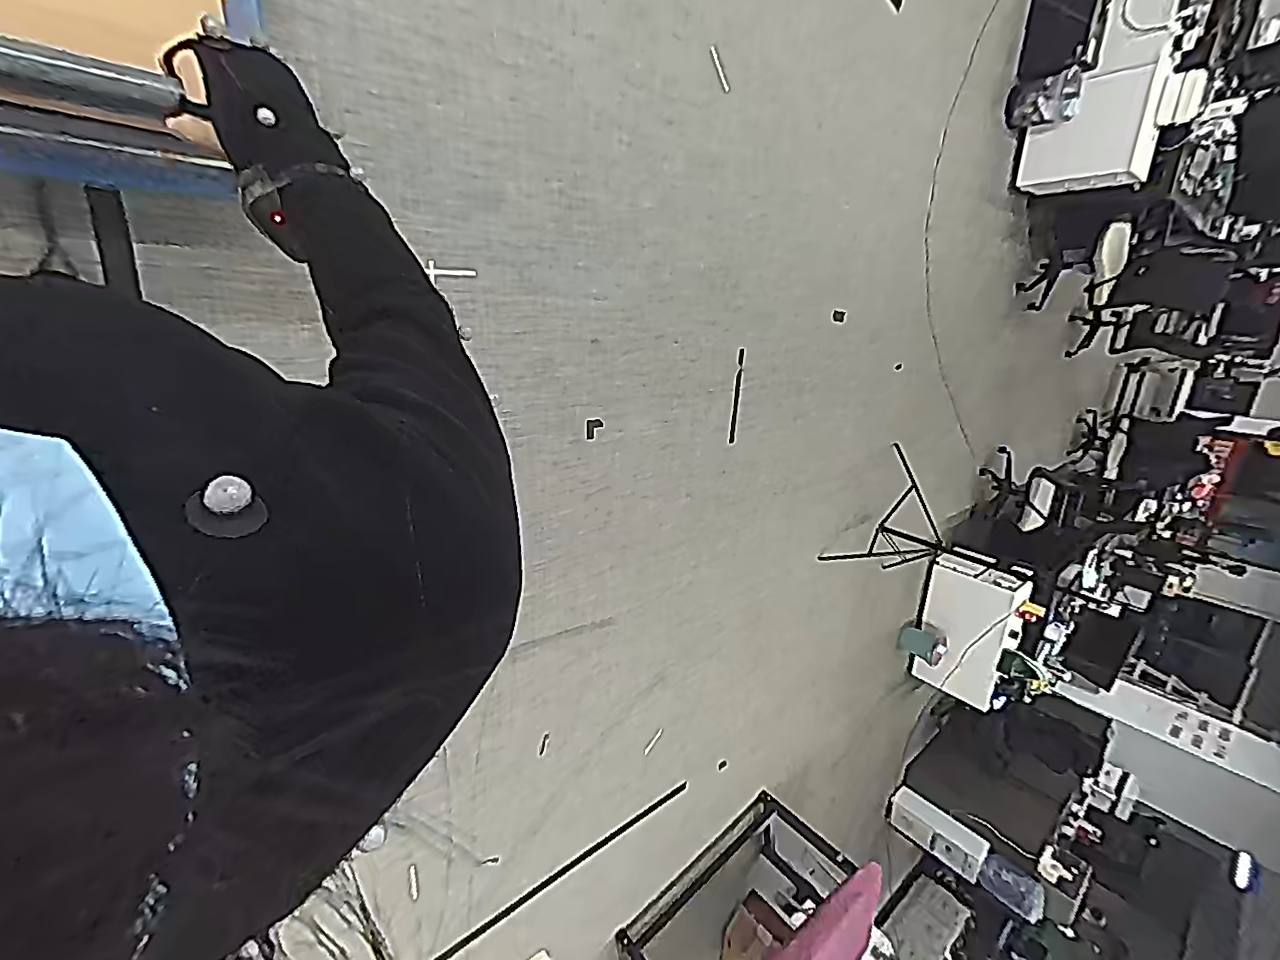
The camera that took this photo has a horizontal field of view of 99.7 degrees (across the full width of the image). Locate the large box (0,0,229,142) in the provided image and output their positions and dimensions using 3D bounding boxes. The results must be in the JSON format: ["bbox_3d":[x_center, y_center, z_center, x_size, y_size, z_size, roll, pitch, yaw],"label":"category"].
[{"bbox_3d":[-0.800,-0.665,0.673,0.408,0.320,0.320,-11,113,-39],"label":"large box"}]
